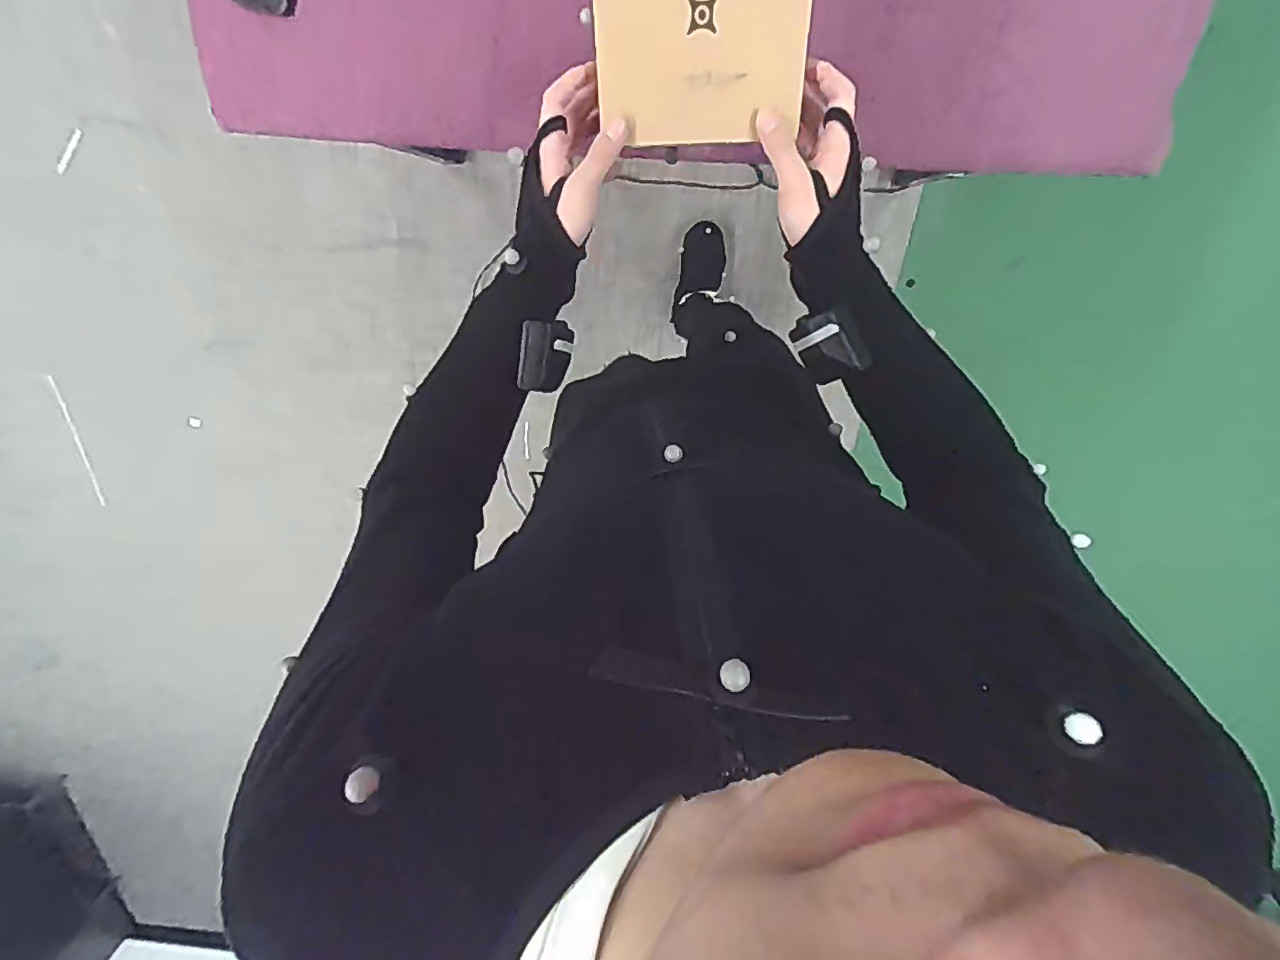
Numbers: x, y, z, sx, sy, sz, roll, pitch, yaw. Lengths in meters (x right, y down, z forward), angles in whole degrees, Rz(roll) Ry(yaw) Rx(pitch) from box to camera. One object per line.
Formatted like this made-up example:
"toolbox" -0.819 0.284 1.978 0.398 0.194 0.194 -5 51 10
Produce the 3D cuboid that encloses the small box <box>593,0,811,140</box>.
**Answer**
"small box" 0.046 -0.400 0.467 0.168 0.176 0.179 -1 122 1

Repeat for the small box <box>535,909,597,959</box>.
"small box" -0.226 1.441 1.624 0.168 0.176 0.179 7 114 1
